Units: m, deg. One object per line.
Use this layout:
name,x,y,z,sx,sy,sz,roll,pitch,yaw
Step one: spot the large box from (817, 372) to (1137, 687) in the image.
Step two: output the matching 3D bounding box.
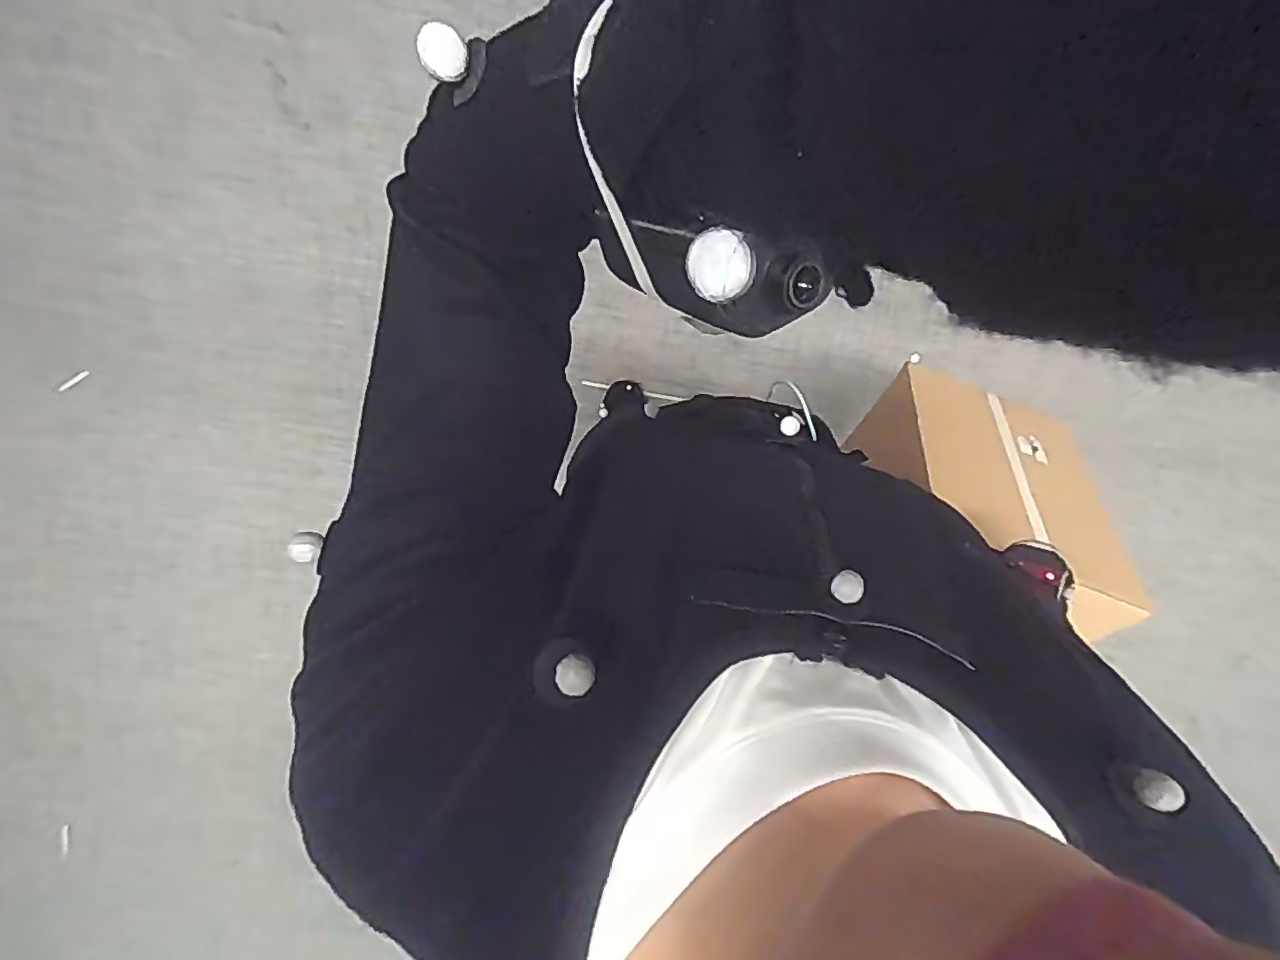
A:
large box,0.527,0.084,0.958,0.320,0.408,0.320,21,136,-2
